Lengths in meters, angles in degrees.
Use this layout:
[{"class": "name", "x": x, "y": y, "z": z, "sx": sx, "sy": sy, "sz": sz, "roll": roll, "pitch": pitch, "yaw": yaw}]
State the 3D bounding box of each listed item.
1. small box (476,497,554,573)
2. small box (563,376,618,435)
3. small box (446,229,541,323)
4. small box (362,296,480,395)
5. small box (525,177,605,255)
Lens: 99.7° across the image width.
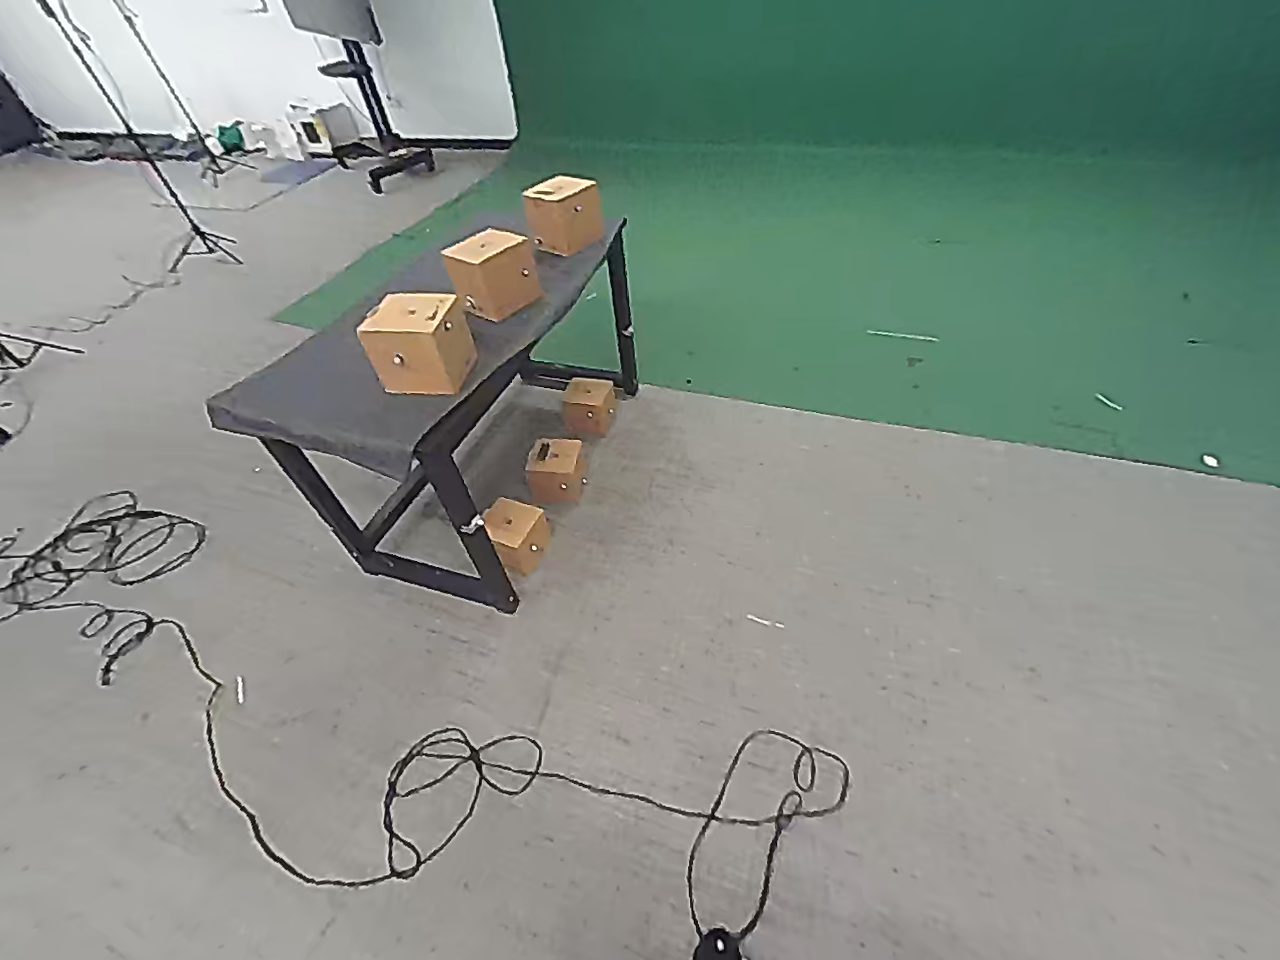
[{"class": "small box", "x": -0.405, "y": 0.187, "z": 1.793, "sx": 0.179, "sy": 0.176, "sz": 0.168, "roll": 15, "pitch": 51, "yaw": 19}, {"class": "small box", "x": -0.197, "y": -0.301, "z": 2.217, "sx": 0.179, "sy": 0.176, "sz": 0.168, "roll": 8, "pitch": 48, "yaw": 13}, {"class": "small box", "x": -0.391, "y": -0.560, "z": 1.484, "sx": 0.168, "sy": 0.176, "sz": 0.179, "roll": 27, "pitch": 57, "yaw": 31}, {"class": "small box", "x": -0.501, "y": -0.313, "z": 1.266, "sx": 0.179, "sy": 0.176, "sz": 0.168, "roll": 2, "pitch": 48, "yaw": 8}, {"class": "small box", "x": -0.229, "y": -0.837, "z": 1.717, "sx": 0.168, "sy": 0.176, "sz": 0.179, "roll": 29, "pitch": 57, "yaw": 31}]
